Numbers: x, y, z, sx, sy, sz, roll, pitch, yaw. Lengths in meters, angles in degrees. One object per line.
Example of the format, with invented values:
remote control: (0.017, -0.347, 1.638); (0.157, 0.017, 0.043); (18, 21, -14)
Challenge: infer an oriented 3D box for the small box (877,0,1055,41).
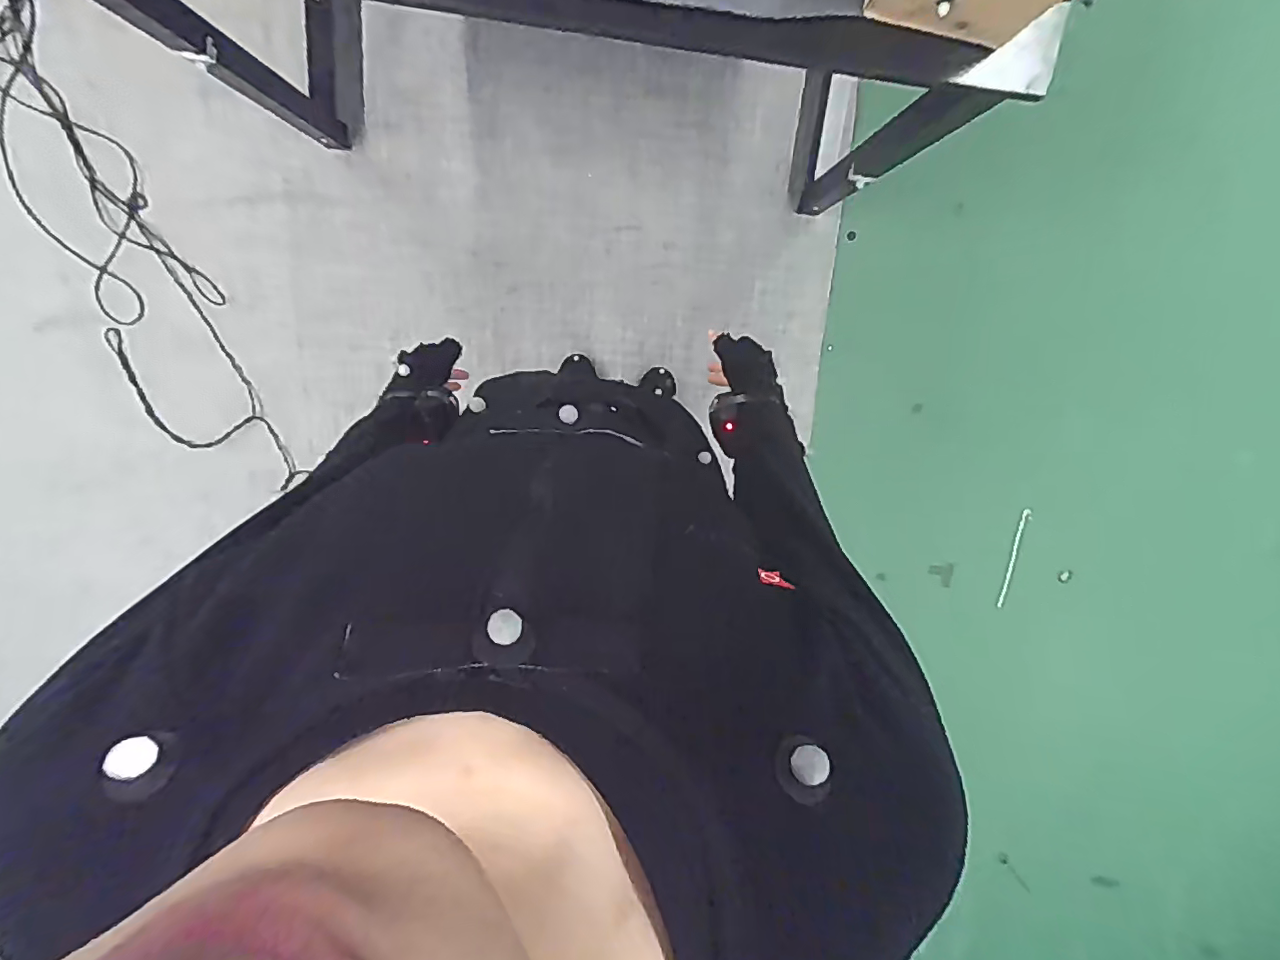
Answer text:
small box: (0.347, -0.565, 0.503); (0.168, 0.176, 0.179); (11, 107, -4)
